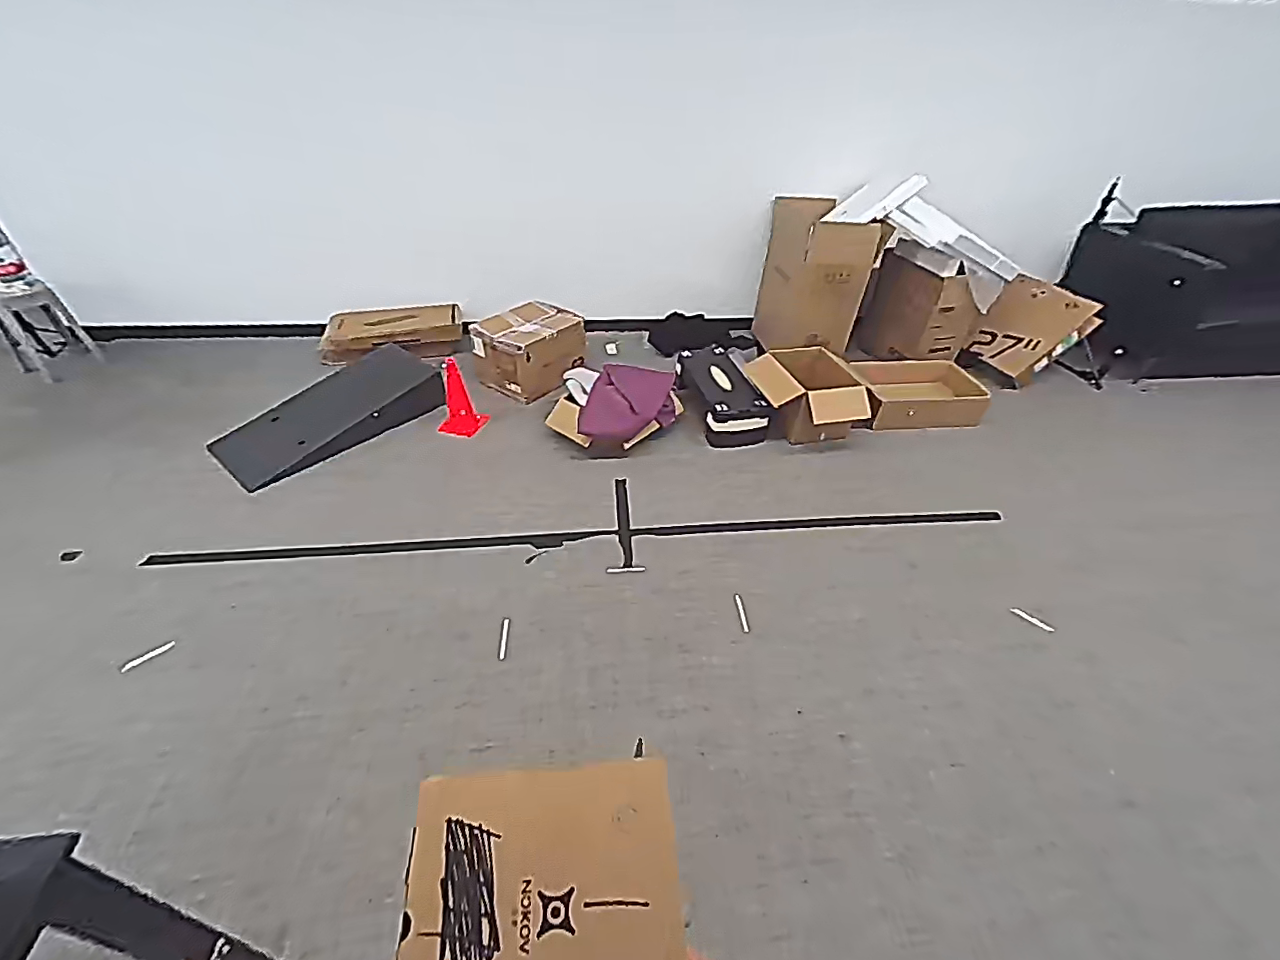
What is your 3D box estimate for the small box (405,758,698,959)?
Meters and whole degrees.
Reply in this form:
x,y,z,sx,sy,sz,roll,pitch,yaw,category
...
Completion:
x,y,z,sx,sy,sz,roll,pitch,yaw,category
-0.056,0.320,0.395,0.179,0.176,0.168,-2,49,-5,small box
